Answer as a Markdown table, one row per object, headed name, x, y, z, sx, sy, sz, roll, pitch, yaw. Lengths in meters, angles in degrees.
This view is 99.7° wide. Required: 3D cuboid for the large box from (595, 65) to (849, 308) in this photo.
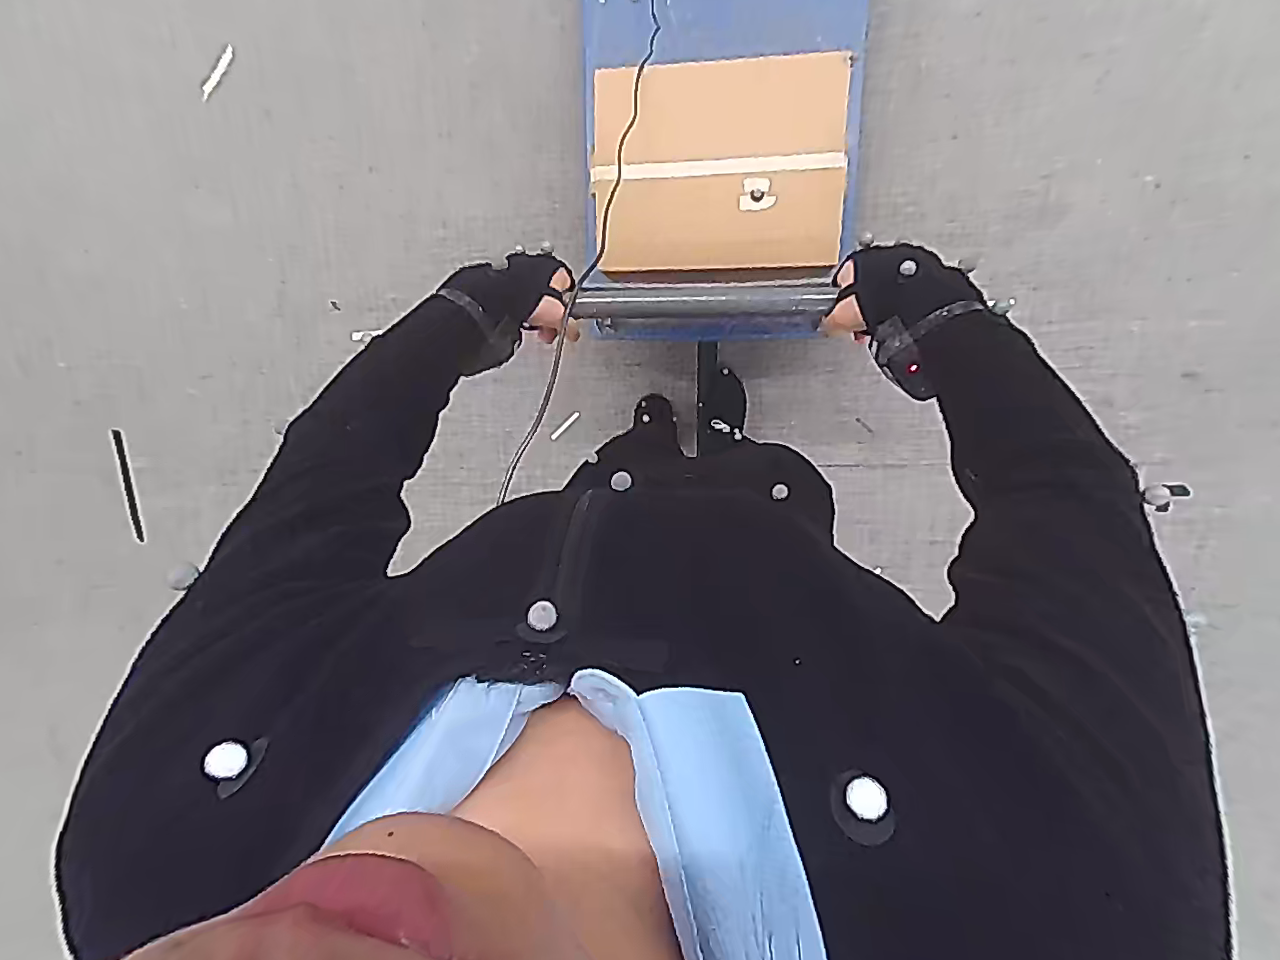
| name | x | y | z | sx | sy | sz | roll | pitch | yaw |
| --- | --- | --- | --- | --- | --- | --- | --- | --- | --- |
| large box | 0.141 | -0.510 | 1.019 | 0.408 | 0.320 | 0.320 | 1 | 101 | 7 |
